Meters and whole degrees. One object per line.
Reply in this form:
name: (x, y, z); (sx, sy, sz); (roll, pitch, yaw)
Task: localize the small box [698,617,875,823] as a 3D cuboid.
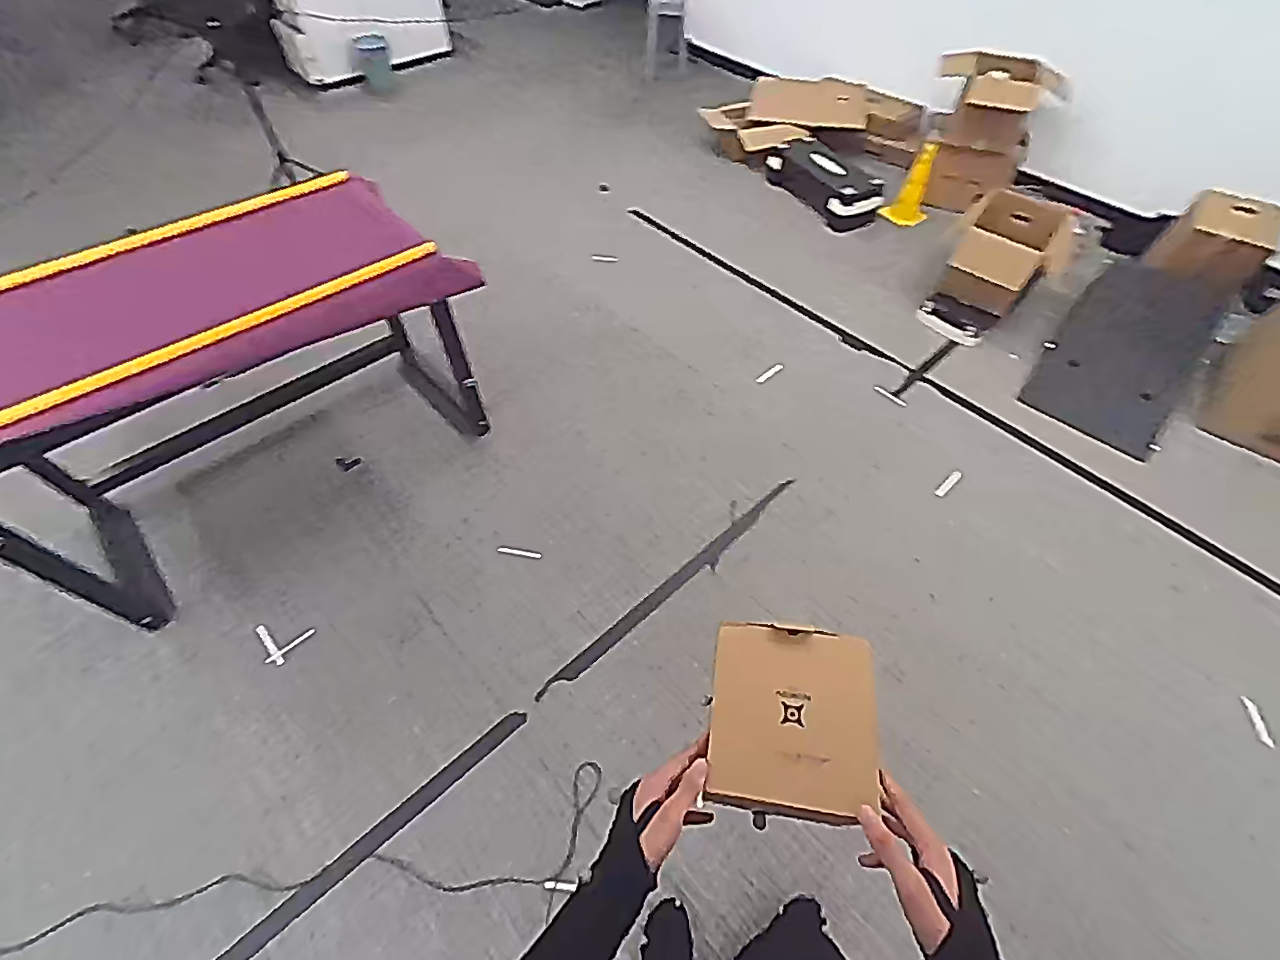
small box: (0.155, 0.278, 0.622); (0.168, 0.176, 0.179); (4, 56, 8)
